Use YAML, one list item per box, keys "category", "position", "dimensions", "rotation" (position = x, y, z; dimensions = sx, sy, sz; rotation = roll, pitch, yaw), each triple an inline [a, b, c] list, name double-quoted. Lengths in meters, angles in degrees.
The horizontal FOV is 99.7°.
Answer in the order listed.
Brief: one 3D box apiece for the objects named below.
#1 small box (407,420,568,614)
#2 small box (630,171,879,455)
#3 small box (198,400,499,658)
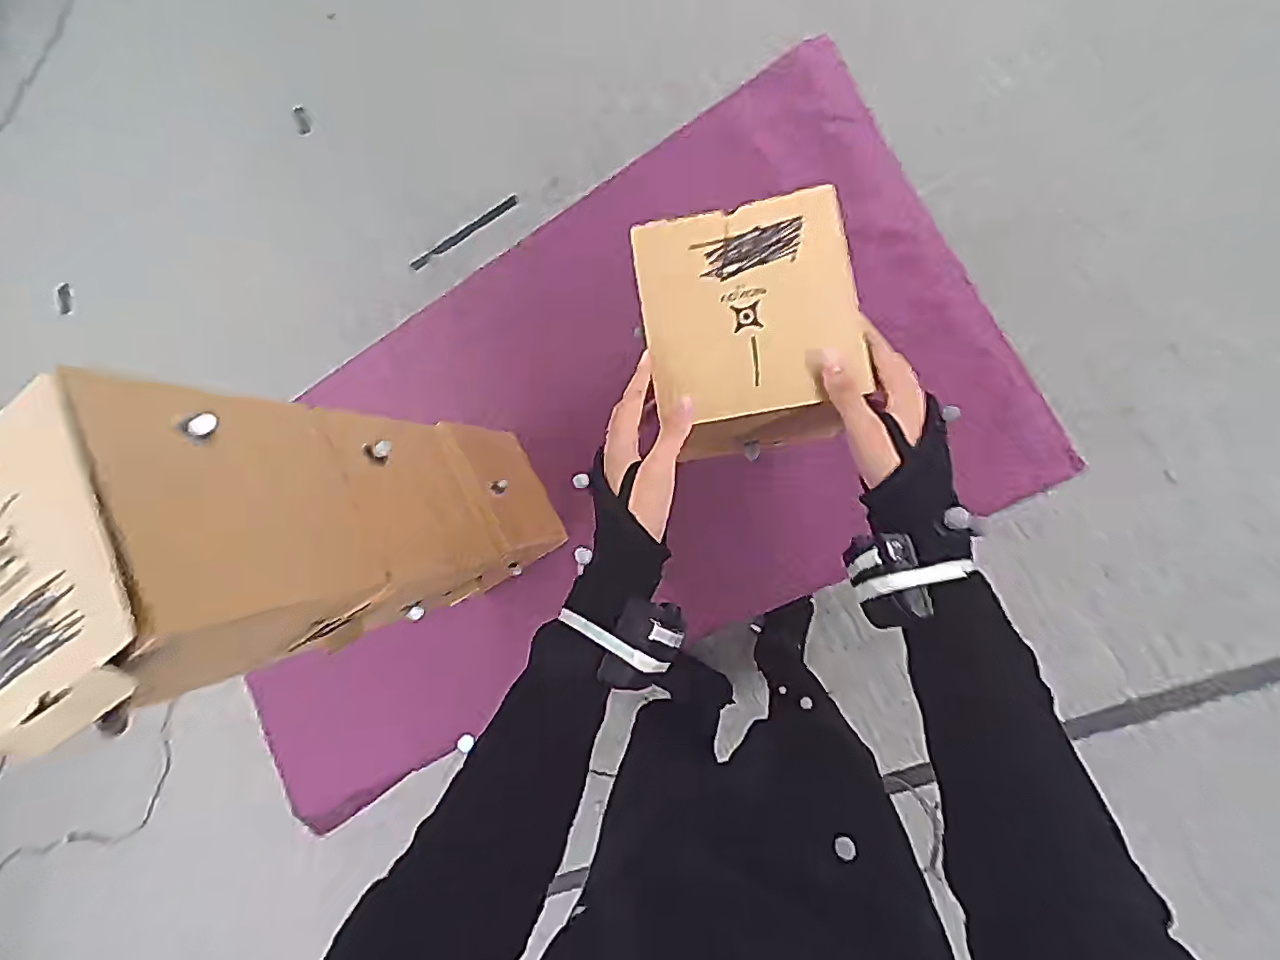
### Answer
- category: "small box"
  position: [-0.220, 0.043, 0.696]
  dimensions: [0.168, 0.176, 0.179]
  rotation: [-31, 81, 13]
- category: "small box"
  position: [0.092, -0.129, 0.485]
  dimensions: [0.168, 0.176, 0.179]
  rotation: [-9, 84, 8]
- category: "small box"
  position: [-0.275, 0.046, 0.540]
  dimensions: [0.168, 0.176, 0.179]
  rotation: [-29, 82, 14]
